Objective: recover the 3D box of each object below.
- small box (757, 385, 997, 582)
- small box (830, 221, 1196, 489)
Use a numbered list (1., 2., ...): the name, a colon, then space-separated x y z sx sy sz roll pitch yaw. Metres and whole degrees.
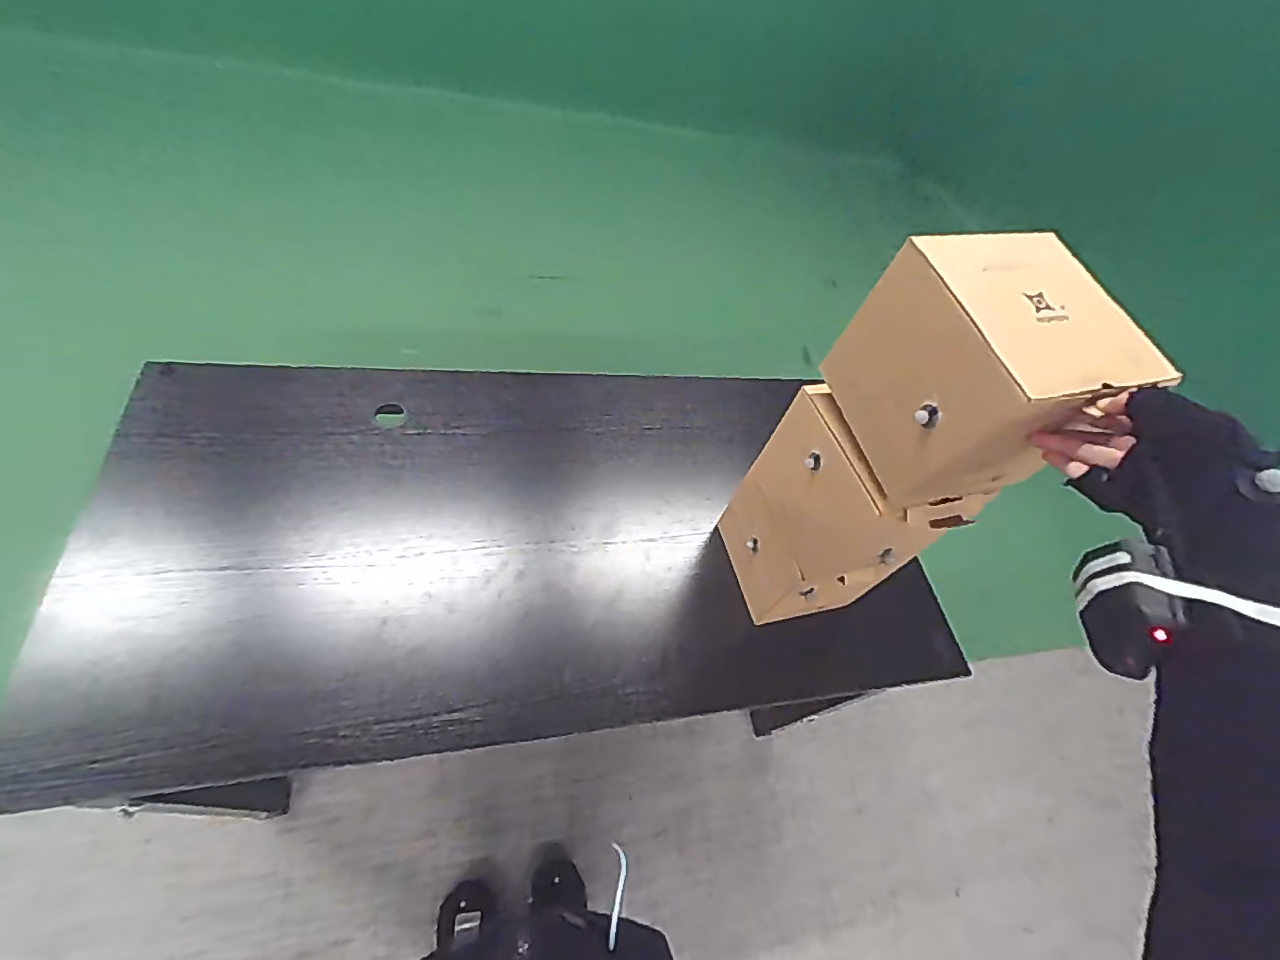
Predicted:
1. small box: 0.267 0.001 0.658 0.168 0.176 0.179 -9 59 -18
2. small box: 0.309 -0.105 0.492 0.168 0.176 0.179 -9 63 -17
